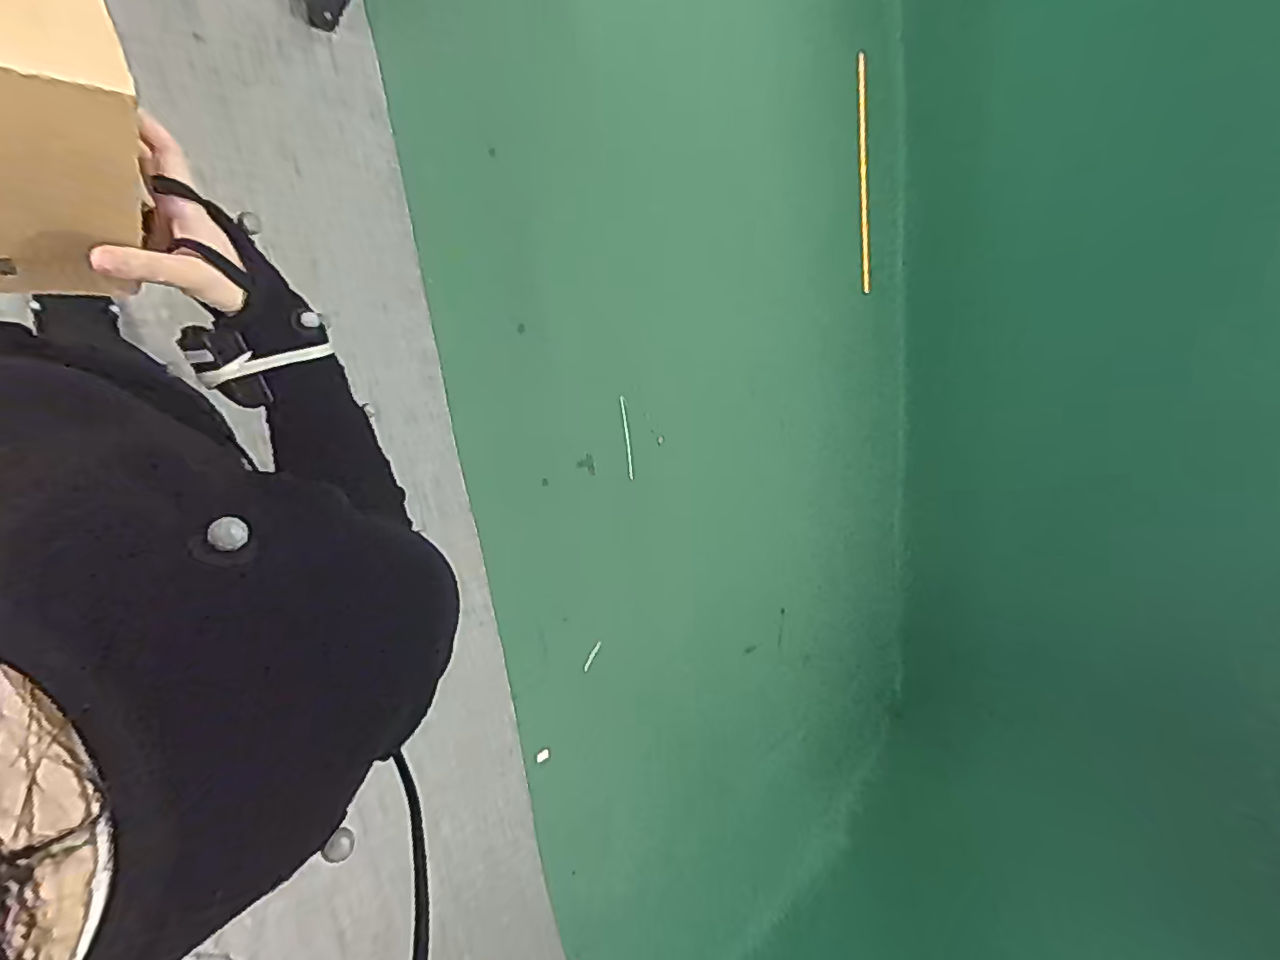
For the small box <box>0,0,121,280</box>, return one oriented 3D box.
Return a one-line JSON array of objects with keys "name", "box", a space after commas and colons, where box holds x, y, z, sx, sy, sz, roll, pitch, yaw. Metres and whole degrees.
[{"name": "small box", "box": [-0.382, -0.219, 0.259, 0.168, 0.176, 0.179, -18, 82, -47]}]
